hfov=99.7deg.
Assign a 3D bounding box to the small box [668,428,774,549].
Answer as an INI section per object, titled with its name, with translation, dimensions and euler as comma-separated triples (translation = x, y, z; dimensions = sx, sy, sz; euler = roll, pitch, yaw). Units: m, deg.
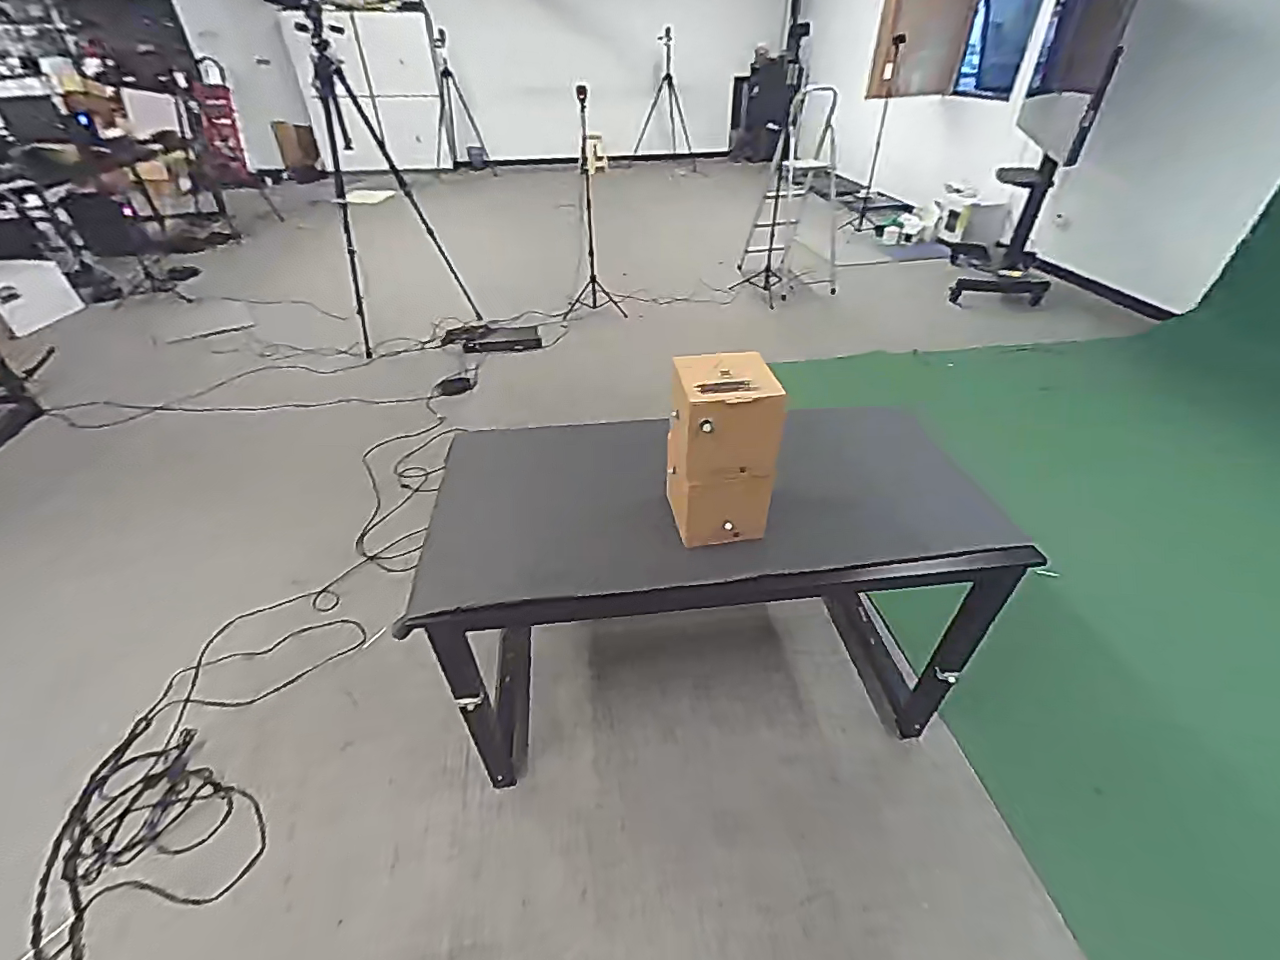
[small box]
translation = 0.154, 0.015, 1.097
dimensions = 0.168, 0.176, 0.179
euler = -7, 38, -7
